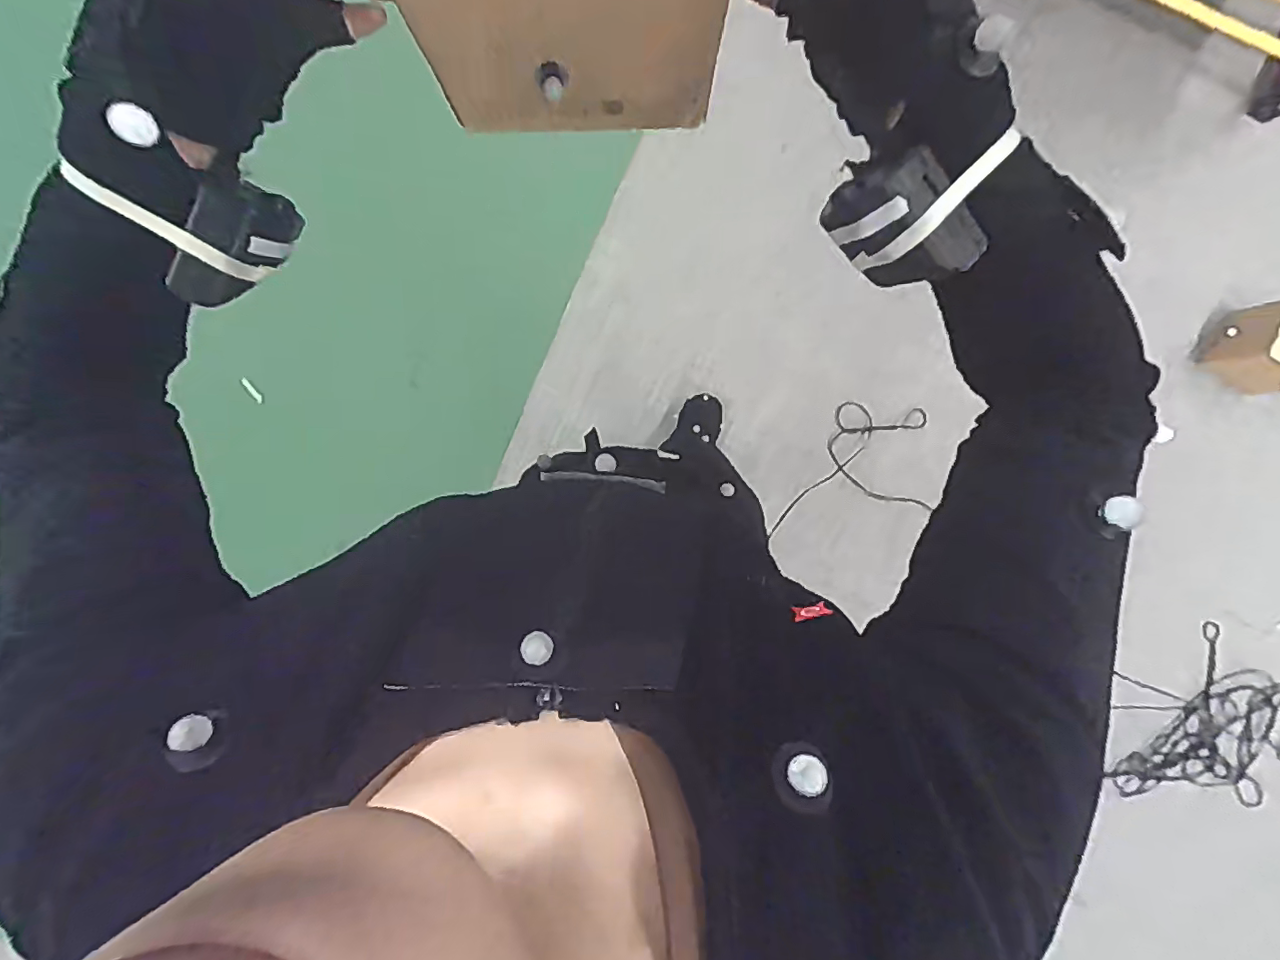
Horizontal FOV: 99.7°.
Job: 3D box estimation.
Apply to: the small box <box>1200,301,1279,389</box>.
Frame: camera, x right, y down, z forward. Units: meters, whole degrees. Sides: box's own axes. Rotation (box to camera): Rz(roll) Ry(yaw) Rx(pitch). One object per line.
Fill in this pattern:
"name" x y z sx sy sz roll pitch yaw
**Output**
"small box" 1.620 -0.344 1.378 0.179 0.176 0.168 29 93 -2
